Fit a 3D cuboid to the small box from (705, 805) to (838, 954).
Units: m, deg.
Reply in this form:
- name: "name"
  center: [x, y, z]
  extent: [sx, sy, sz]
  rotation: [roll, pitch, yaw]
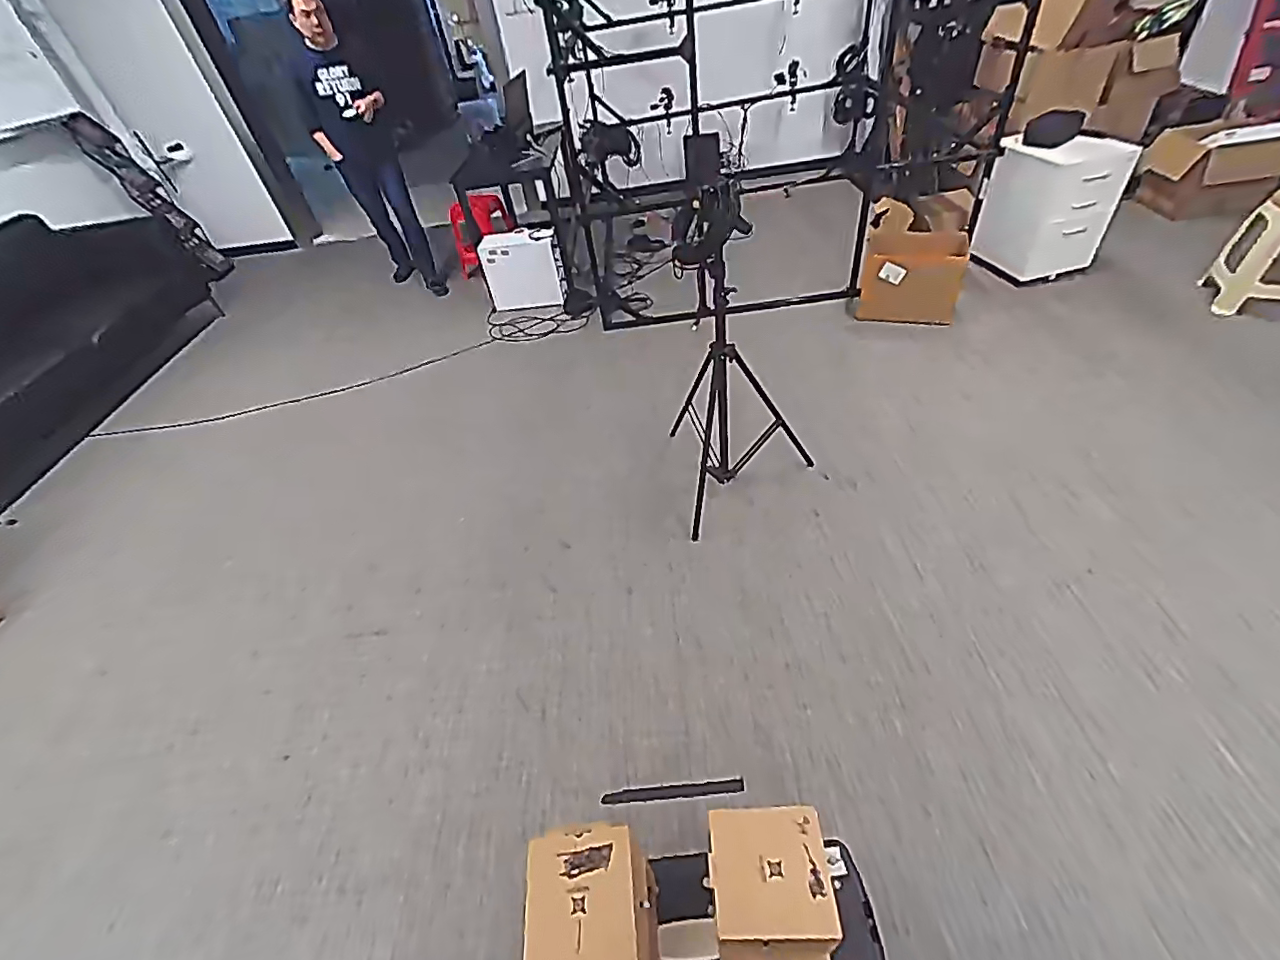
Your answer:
- name: "small box"
  center: [0.202, 0.639, 0.862]
  extent: [0.179, 0.176, 0.168]
  rotation: [-6, 43, 6]

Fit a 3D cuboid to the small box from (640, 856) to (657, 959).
- name: "small box"
  center: [-0.058, 0.805, 0.971]
  extent: [0.168, 0.176, 0.179]
  rotation: [-8, 43, 3]

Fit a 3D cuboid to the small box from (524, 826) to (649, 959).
- name: "small box"
  center: [-0.080, 0.684, 0.863]
  extent: [0.168, 0.176, 0.179]
  rotation: [-8, 44, 1]
